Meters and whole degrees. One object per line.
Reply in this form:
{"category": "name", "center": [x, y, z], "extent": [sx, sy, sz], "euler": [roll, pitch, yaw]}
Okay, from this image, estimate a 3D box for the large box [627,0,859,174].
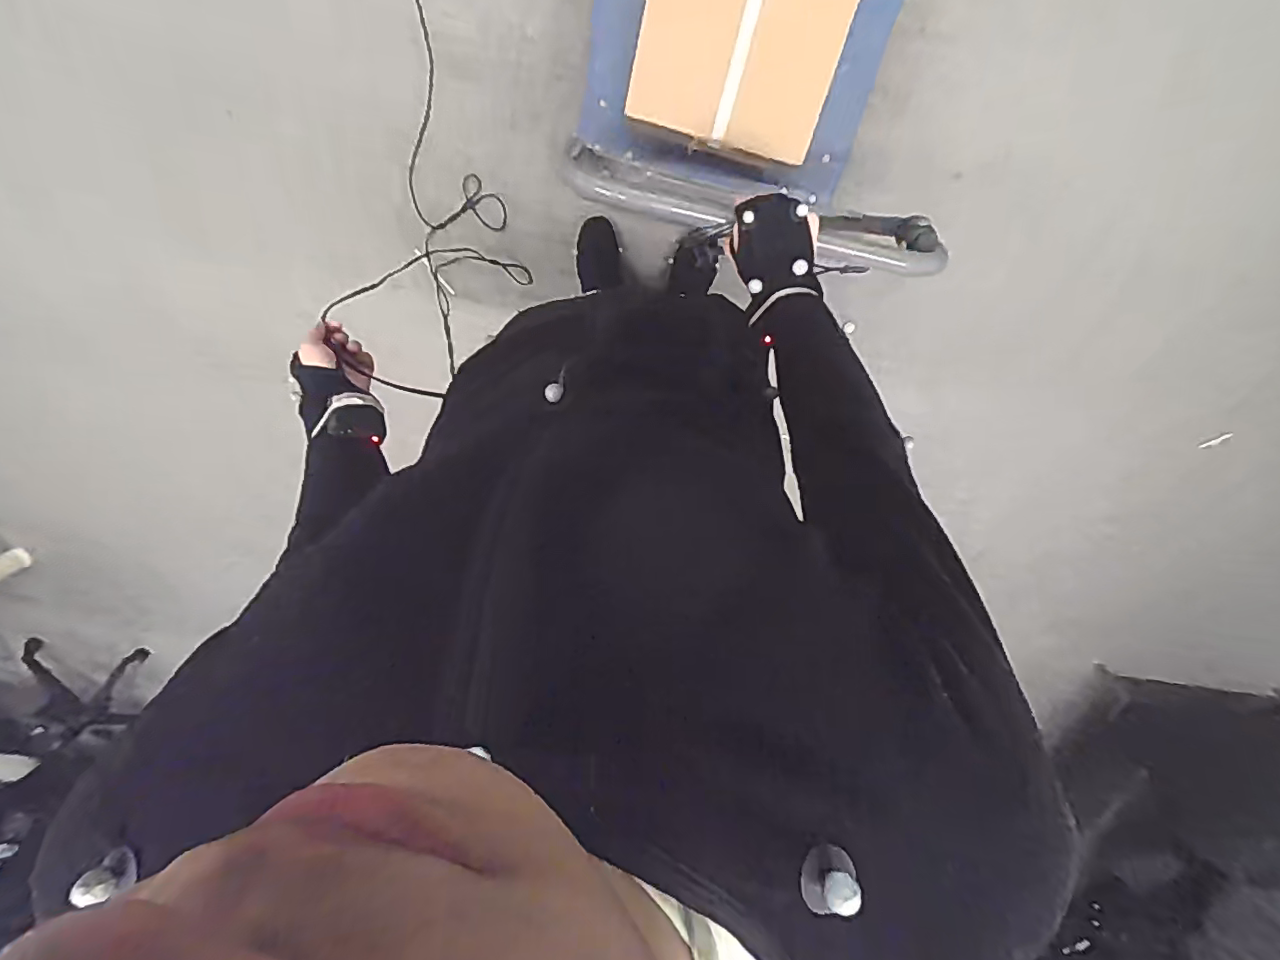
{"category": "large box", "center": [0.172, -0.790, 0.934], "extent": [0.320, 0.320, 0.408], "euler": [13, 118, -7]}
